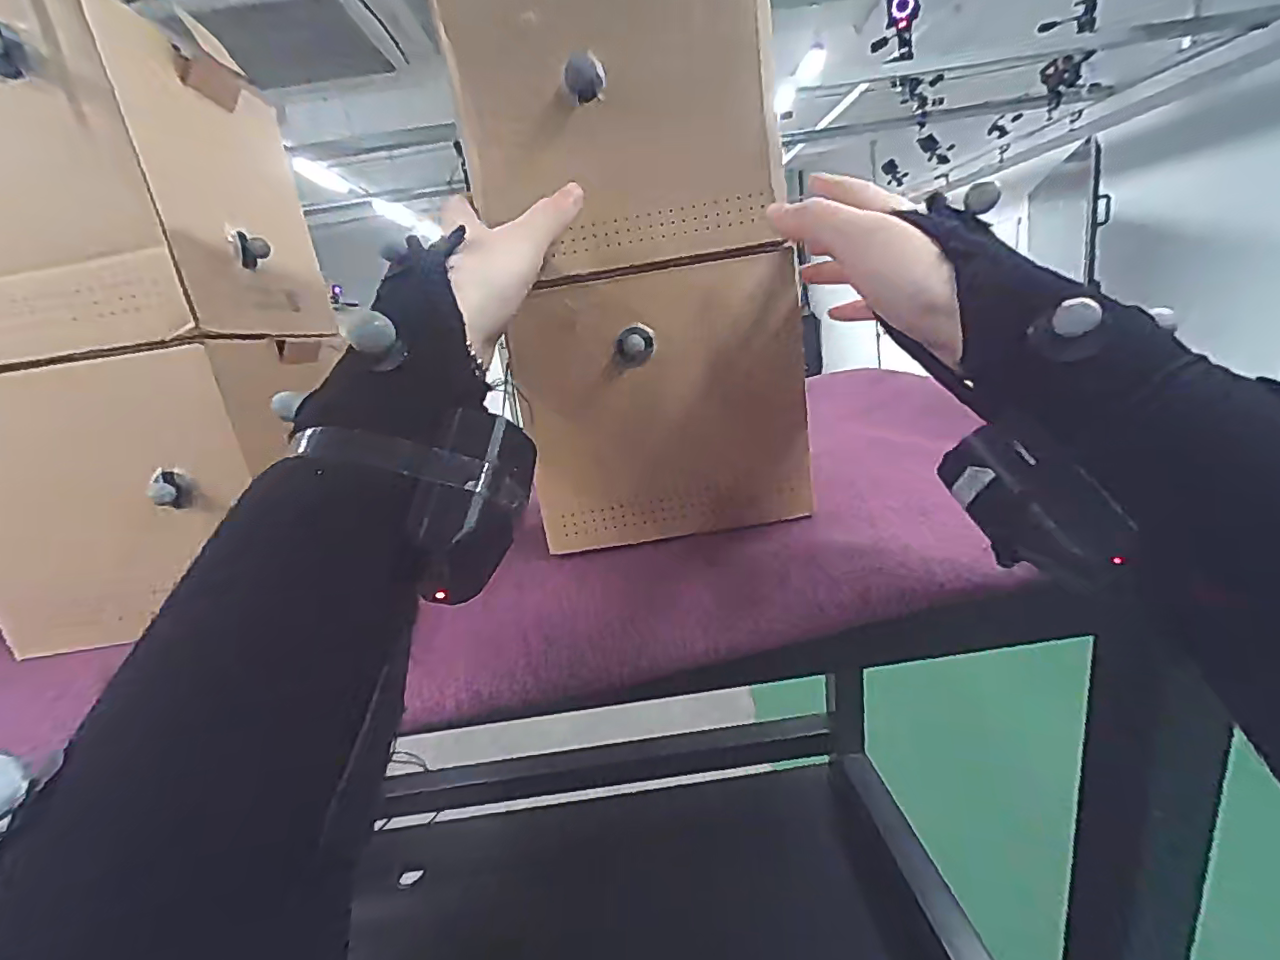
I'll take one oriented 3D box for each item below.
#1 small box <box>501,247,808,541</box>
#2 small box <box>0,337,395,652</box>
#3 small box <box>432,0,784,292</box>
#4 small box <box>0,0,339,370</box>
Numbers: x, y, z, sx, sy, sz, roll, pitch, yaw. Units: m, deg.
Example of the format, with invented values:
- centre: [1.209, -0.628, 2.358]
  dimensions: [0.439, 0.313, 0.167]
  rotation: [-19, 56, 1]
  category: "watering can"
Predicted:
- centre: [0.014, -0.061, 0.412]
  dimensions: [0.179, 0.176, 0.168]
  rotation: [-8, 14, 1]
  category: "small box"
- centre: [-0.303, -0.003, 0.385]
  dimensions: [0.179, 0.176, 0.168]
  rotation: [-10, 15, -1]
  category: "small box"
- centre: [-0.013, -0.218, 0.375]
  dimensions: [0.179, 0.176, 0.168]
  rotation: [-9, 14, 2]
  category: "small box"
- centre: [-0.332, -0.158, 0.343]
  dimensions: [0.179, 0.176, 0.168]
  rotation: [-9, 15, -3]
  category: "small box"
